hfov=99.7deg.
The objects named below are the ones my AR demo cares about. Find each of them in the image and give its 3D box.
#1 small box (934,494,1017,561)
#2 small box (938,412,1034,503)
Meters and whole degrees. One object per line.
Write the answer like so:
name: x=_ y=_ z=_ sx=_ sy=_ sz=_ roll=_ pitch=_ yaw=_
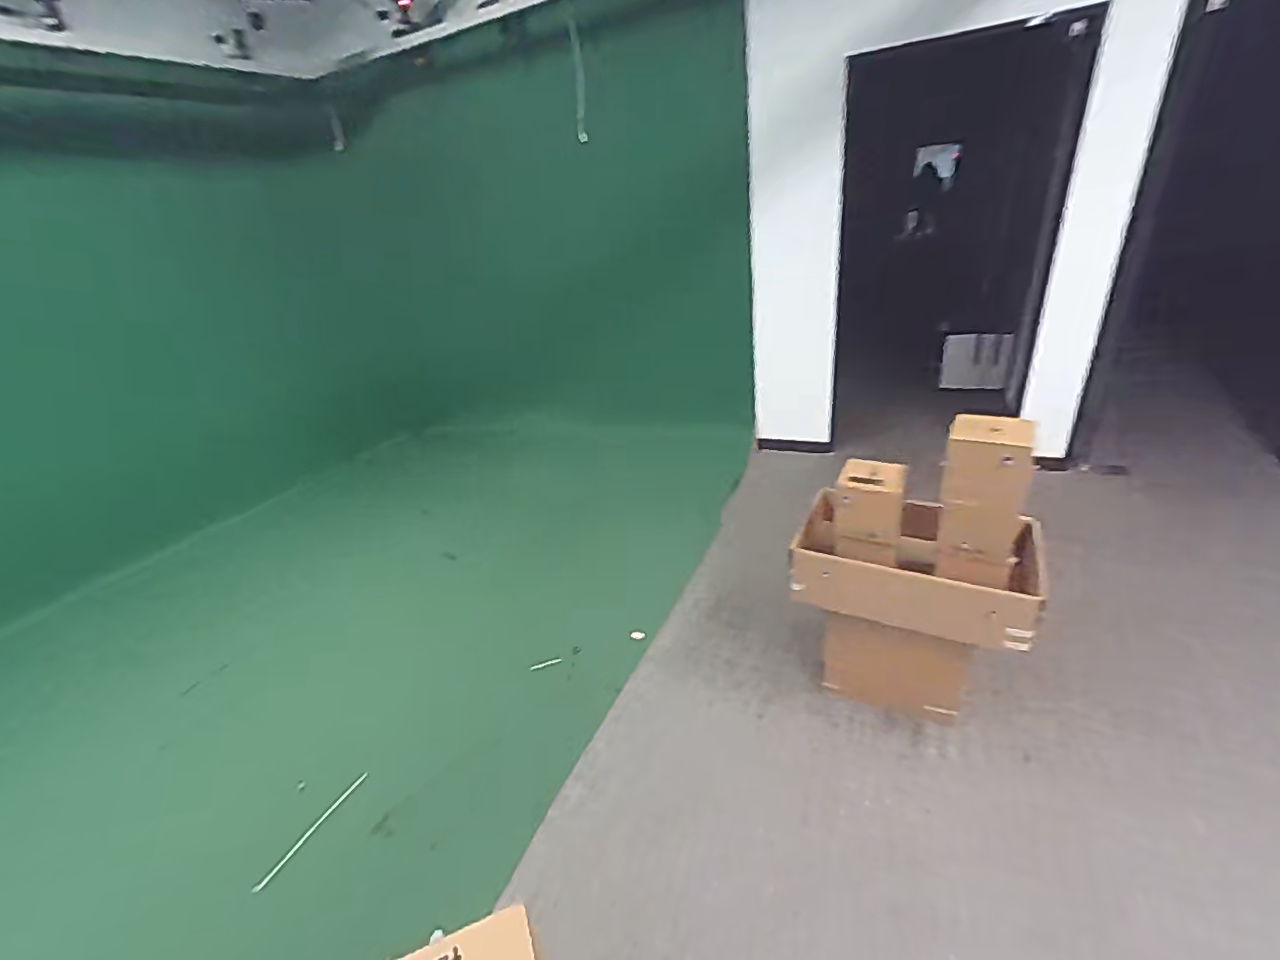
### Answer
small box: x=0.887 y=0.086 z=1.429 sx=0.168 sy=0.176 sz=0.179 roll=9 pitch=33 yaw=32
small box: x=0.862 y=-0.057 z=1.350 sx=0.179 sy=0.176 sz=0.168 roll=9 pitch=32 yaw=34
